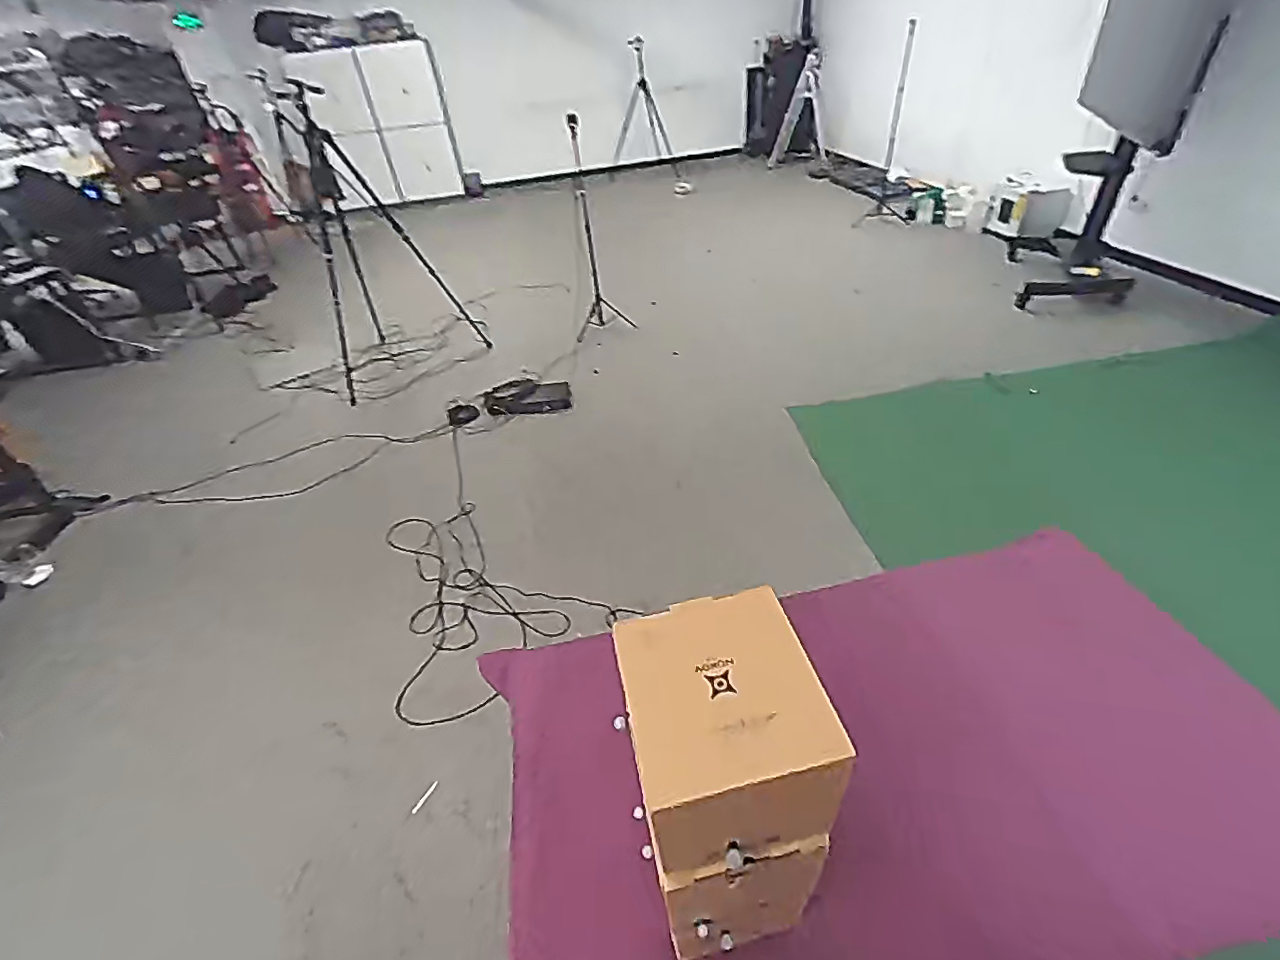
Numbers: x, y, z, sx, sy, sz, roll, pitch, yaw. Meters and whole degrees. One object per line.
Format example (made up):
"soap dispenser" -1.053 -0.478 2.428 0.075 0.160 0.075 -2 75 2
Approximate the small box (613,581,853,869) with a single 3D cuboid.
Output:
"small box" 0.075 0.229 0.516 0.168 0.176 0.179 -12 40 -5

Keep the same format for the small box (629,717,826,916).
"small box" 0.091 0.360 0.613 0.168 0.176 0.179 -12 39 -5

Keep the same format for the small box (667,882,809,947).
"small box" 0.107 0.485 0.719 0.168 0.176 0.179 -13 39 -6
